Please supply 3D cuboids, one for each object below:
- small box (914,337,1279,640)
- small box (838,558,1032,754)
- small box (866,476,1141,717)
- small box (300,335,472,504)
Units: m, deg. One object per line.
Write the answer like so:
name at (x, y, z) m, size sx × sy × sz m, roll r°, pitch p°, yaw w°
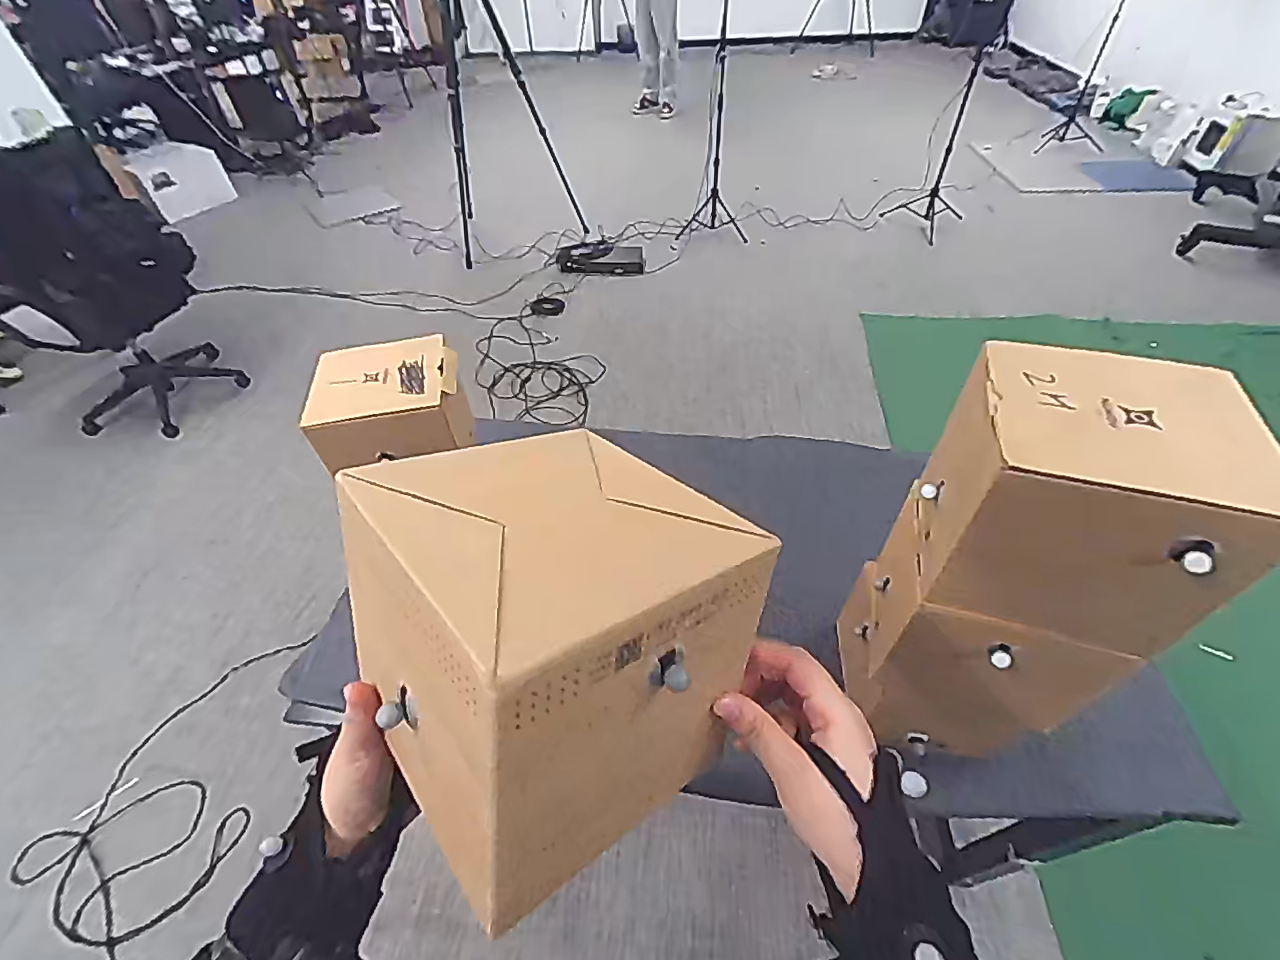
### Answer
small box at (0.348, 0.008, 0.446) m, size 0.179 × 0.176 × 0.168 m, roll 12°, pitch 48°, yaw 16°
small box at (0.361, 0.224, 0.692) m, size 0.168 × 0.176 × 0.179 m, roll 3°, pitch 47°, yaw 8°
small box at (0.352, 0.123, 0.565) m, size 0.179 × 0.176 × 0.168 m, roll 11°, pitch 48°, yaw 15°
small box at (-0.351, -0.086, 0.792) m, size 0.179 × 0.176 × 0.168 m, roll -10°, pitch 49°, yaw -6°
